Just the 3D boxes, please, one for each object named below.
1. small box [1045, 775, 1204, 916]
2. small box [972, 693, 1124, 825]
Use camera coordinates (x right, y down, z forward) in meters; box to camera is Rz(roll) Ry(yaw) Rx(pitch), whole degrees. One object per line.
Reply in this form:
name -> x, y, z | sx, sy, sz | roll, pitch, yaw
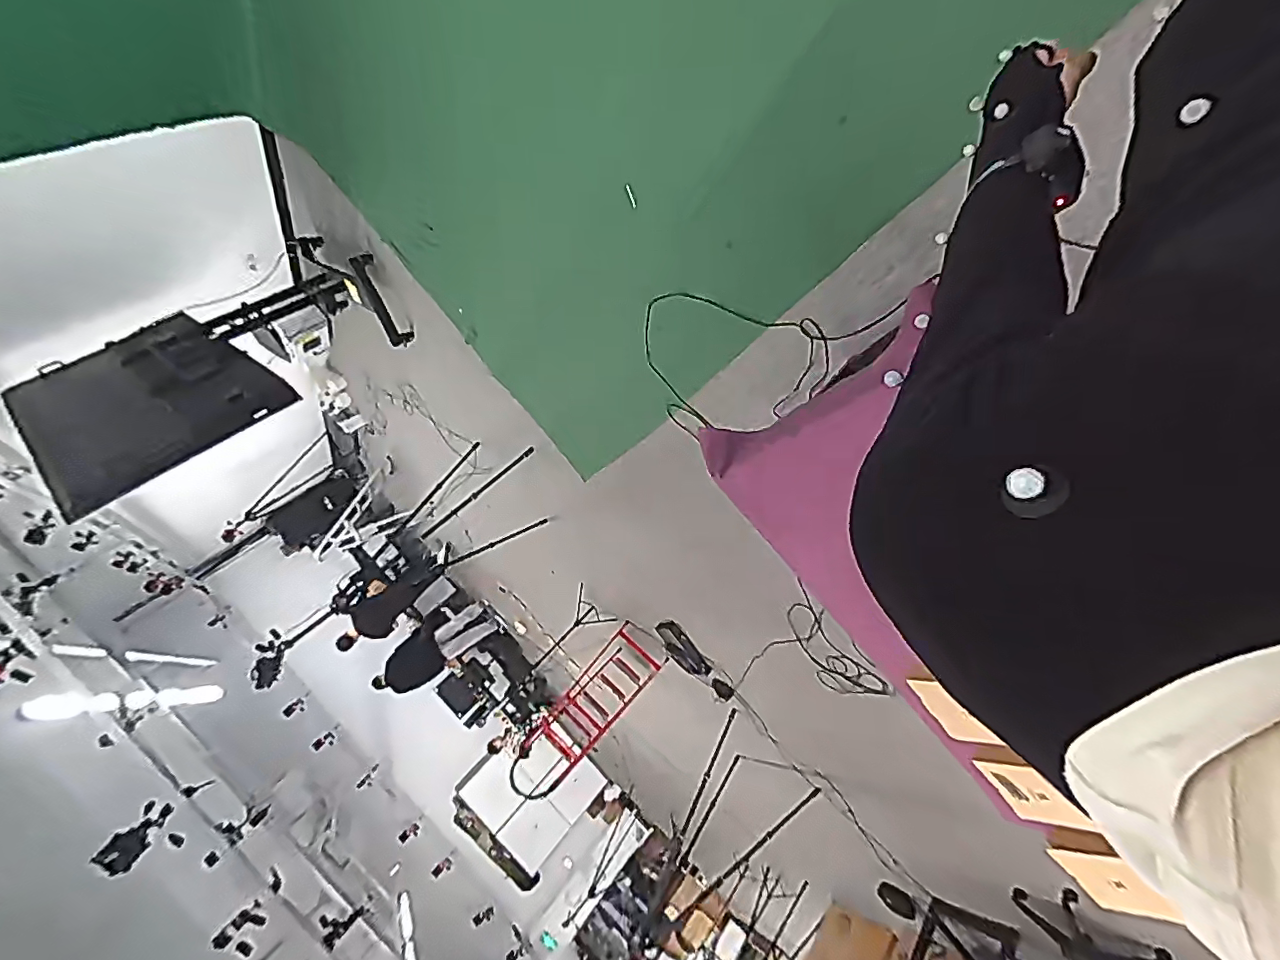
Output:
small box -> 0.992, 0.728, 1.108 | 0.168, 0.176, 0.179 | 46, 149, 3
small box -> 0.839, 0.559, 1.112 | 0.168, 0.176, 0.179 | 49, 149, -1
